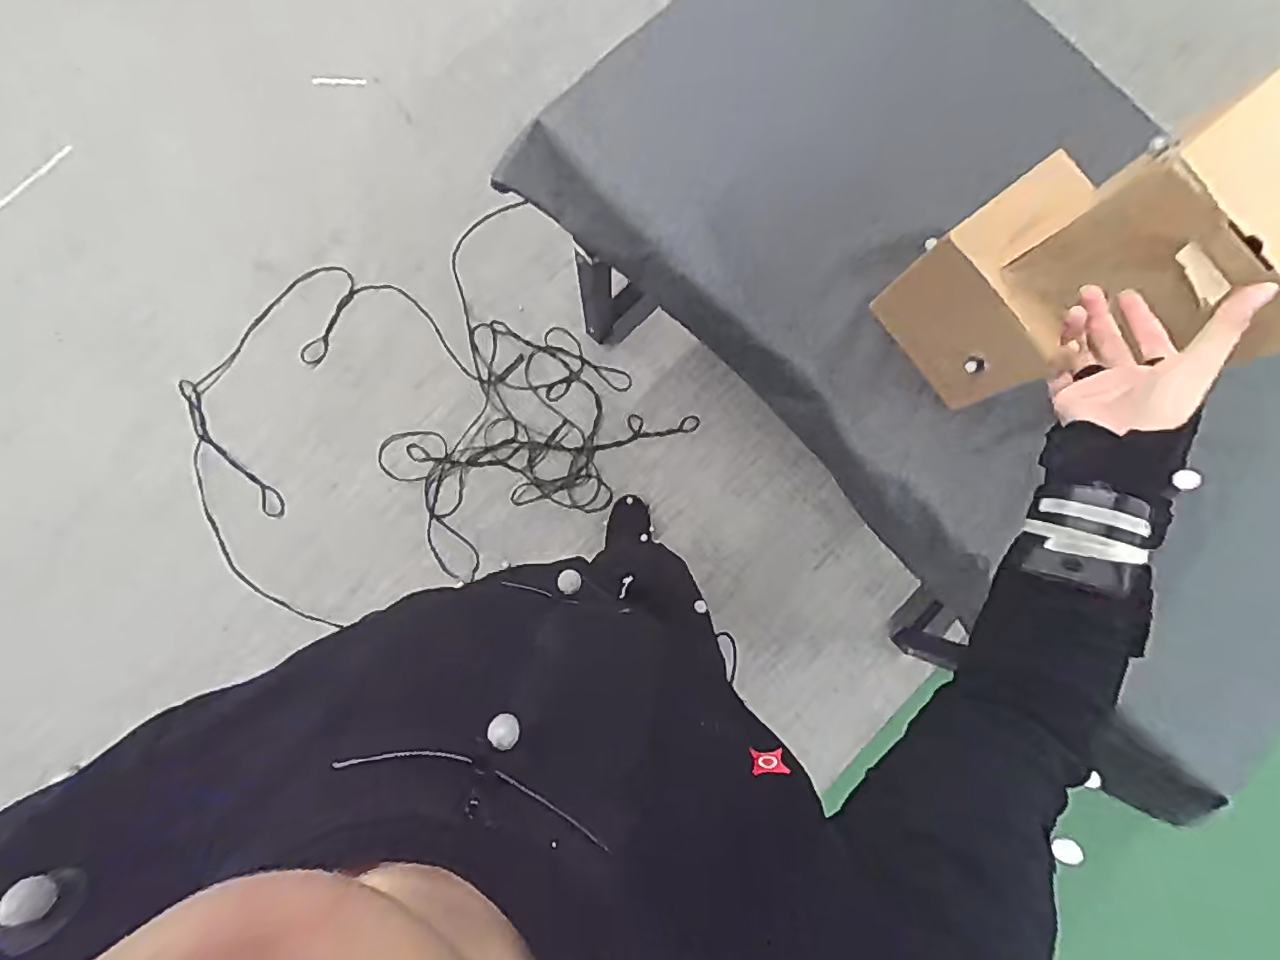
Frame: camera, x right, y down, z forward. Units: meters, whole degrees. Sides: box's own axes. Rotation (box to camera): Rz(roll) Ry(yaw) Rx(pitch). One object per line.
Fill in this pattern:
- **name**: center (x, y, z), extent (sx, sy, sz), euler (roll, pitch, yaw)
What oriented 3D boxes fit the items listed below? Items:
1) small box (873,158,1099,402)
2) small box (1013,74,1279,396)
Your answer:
- **small box**: center (0.413, -0.207, 0.619), extent (0.168, 0.176, 0.179), euler (-37, 86, -7)
- **small box**: center (0.478, -0.199, 0.459), extent (0.179, 0.176, 0.168), euler (-38, 88, -6)
